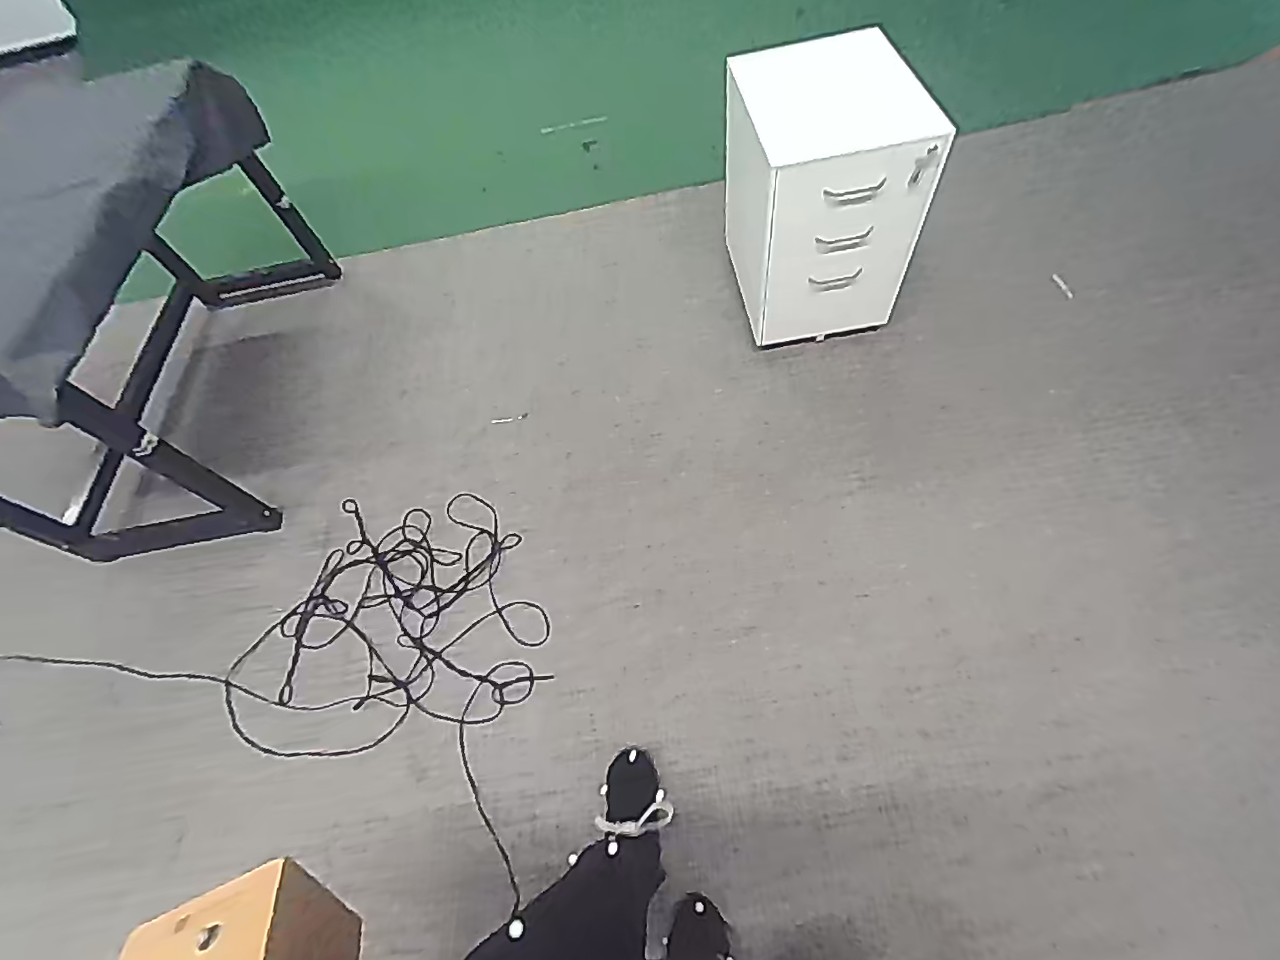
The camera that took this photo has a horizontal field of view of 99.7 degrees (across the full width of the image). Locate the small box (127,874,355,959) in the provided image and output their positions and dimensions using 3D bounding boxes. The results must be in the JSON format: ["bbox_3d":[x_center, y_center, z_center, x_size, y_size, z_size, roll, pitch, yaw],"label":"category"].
[{"bbox_3d":[-0.425,0.567,0.567,0.168,0.179,0.176,-23,30,-10],"label":"small box"}]
